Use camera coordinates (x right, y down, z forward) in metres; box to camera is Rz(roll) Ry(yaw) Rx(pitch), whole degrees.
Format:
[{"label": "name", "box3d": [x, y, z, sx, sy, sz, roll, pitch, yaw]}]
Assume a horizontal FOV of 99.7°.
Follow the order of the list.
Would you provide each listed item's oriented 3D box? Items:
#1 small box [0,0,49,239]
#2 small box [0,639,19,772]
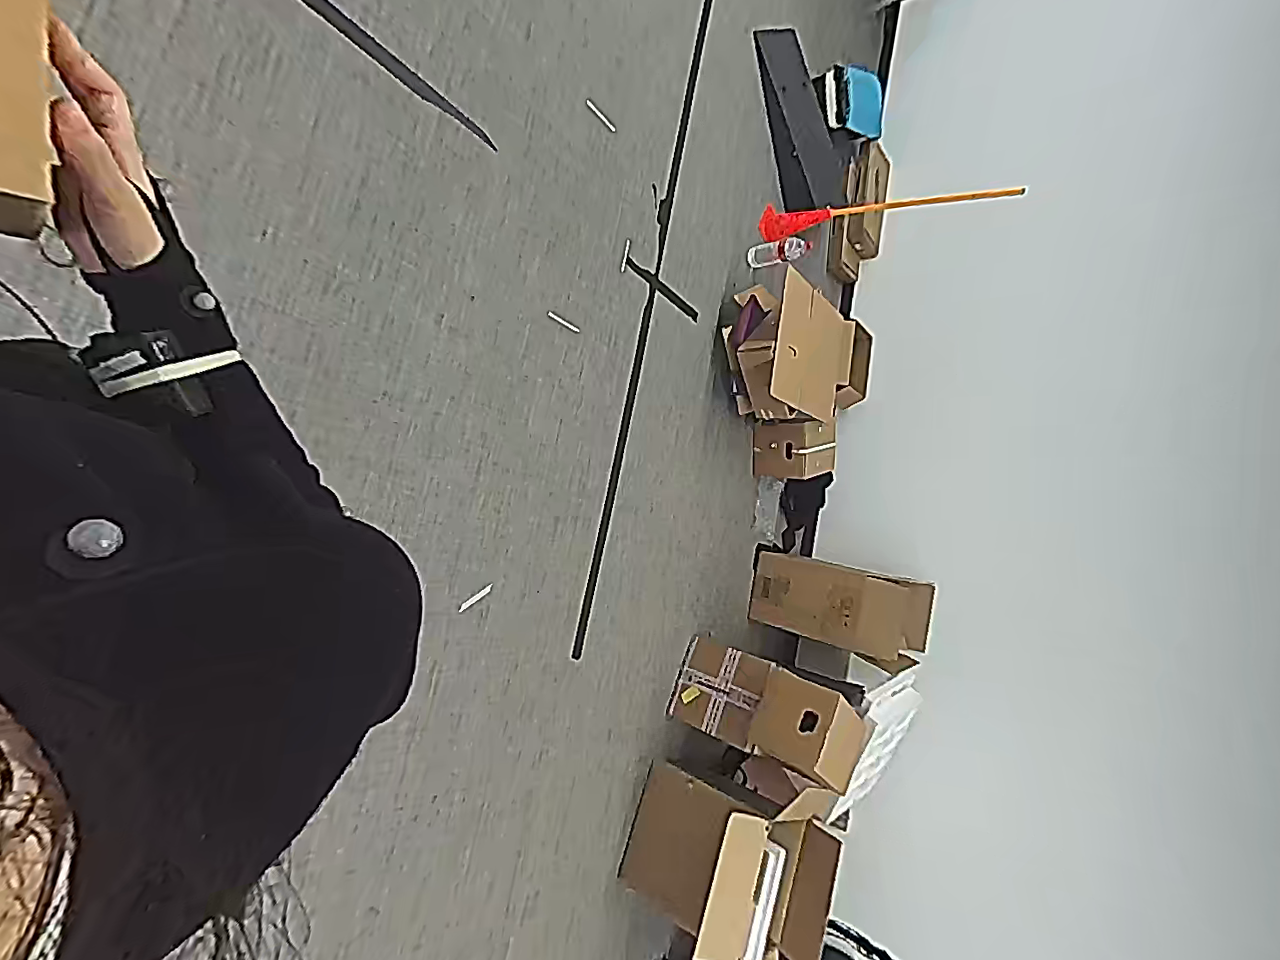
[{"label": "small box", "box3d": [-0.396, -0.230, 0.249, 0.168, 0.176, 0.179, -2, 100, -50]}, {"label": "small box", "box3d": [-1.059, 0.348, 0.801, 0.179, 0.176, 0.168, 2, 91, -48]}]
